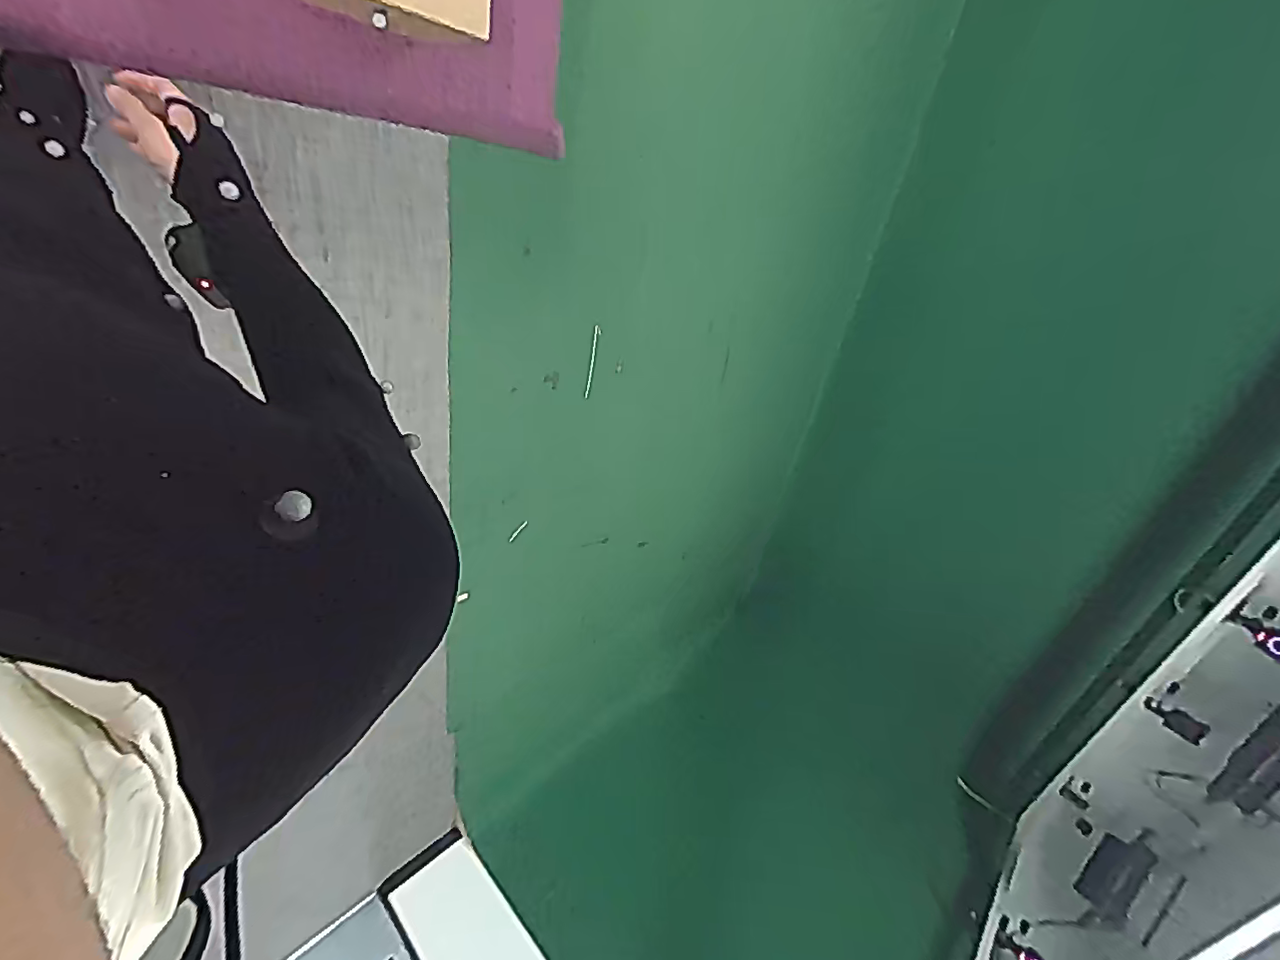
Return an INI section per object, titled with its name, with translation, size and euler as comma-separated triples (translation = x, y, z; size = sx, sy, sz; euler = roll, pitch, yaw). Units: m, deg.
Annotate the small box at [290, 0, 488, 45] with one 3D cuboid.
[small box]
translation = -0.286, -0.604, 0.595
size = 0.179, 0.176, 0.168
euler = -18, 129, -43
